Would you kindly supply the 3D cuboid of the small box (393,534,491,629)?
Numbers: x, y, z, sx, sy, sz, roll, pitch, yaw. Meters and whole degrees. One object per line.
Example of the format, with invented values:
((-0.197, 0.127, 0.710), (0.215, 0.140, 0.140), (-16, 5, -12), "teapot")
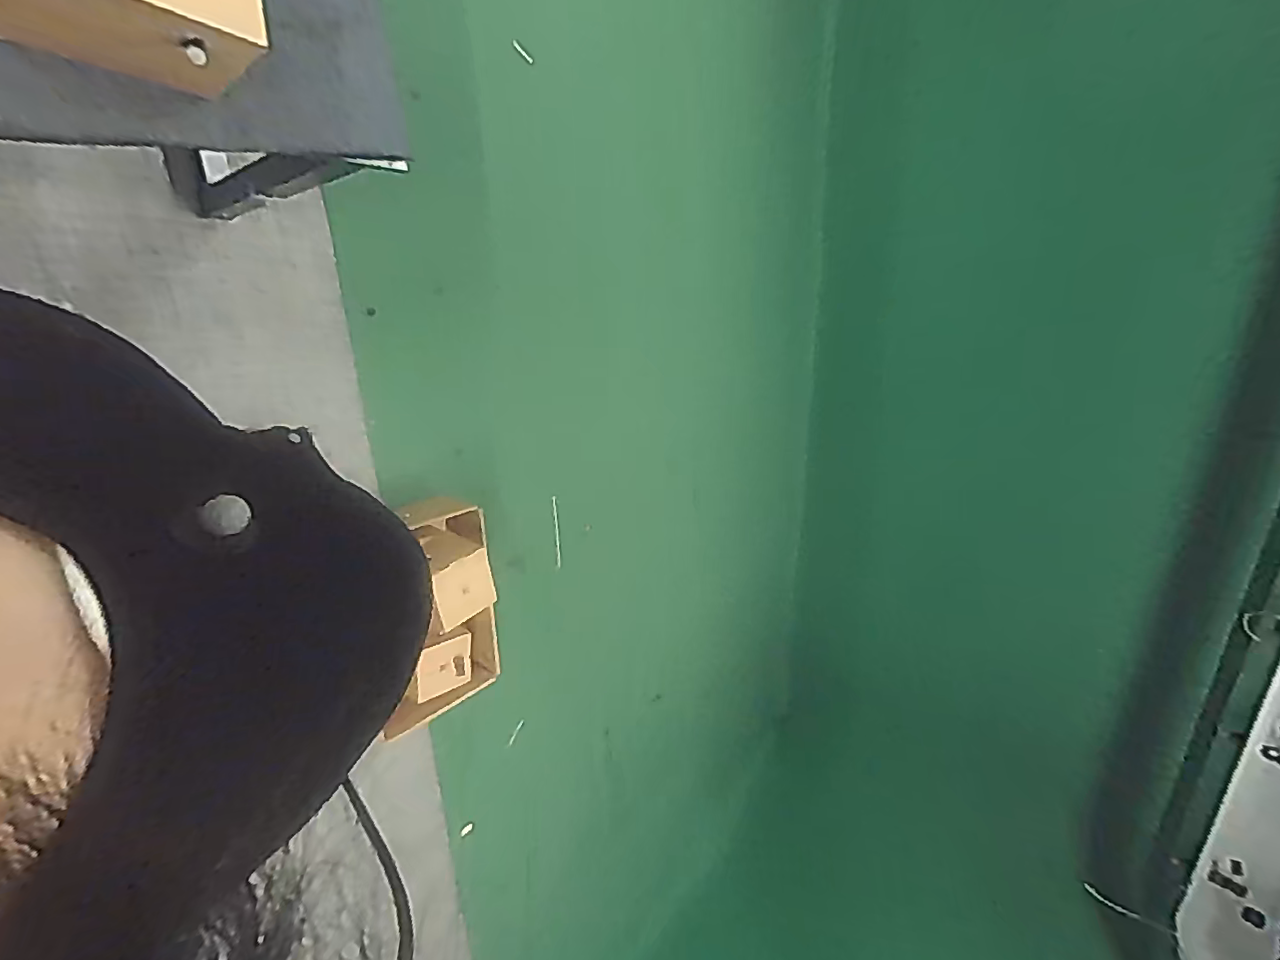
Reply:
((-0.529, 0.258, 1.439), (0.168, 0.176, 0.179), (-31, 126, -42), "small box")

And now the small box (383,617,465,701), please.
((-0.653, 0.527, 1.634), (0.179, 0.176, 0.168), (-10, 108, -50), "small box")

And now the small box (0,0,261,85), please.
((-0.453, -0.463, 0.446), (0.179, 0.176, 0.168), (-16, 110, -49), "small box")

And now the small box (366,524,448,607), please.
((-0.657, 0.232, 1.539), (0.168, 0.176, 0.179), (-19, 114, -48), "small box")
